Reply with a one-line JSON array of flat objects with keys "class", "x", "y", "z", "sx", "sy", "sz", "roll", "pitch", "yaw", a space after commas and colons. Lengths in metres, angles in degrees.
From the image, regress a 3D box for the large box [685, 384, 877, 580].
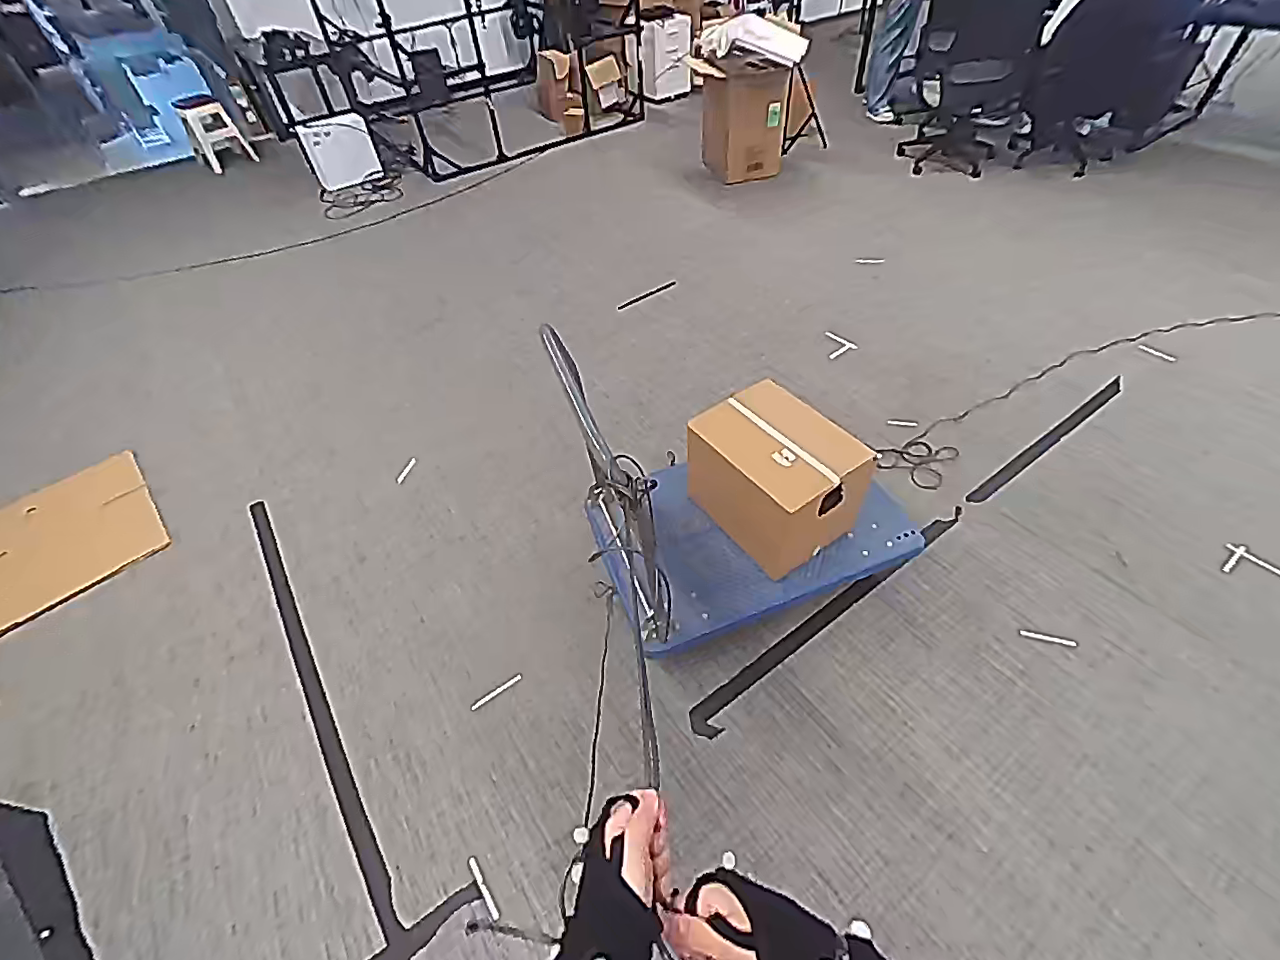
[{"class": "large box", "x": 0.369, "y": -0.003, "z": 1.535, "sx": 0.320, "sy": 0.320, "sz": 0.408, "roll": -30, "pitch": 53, "yaw": -20}]
